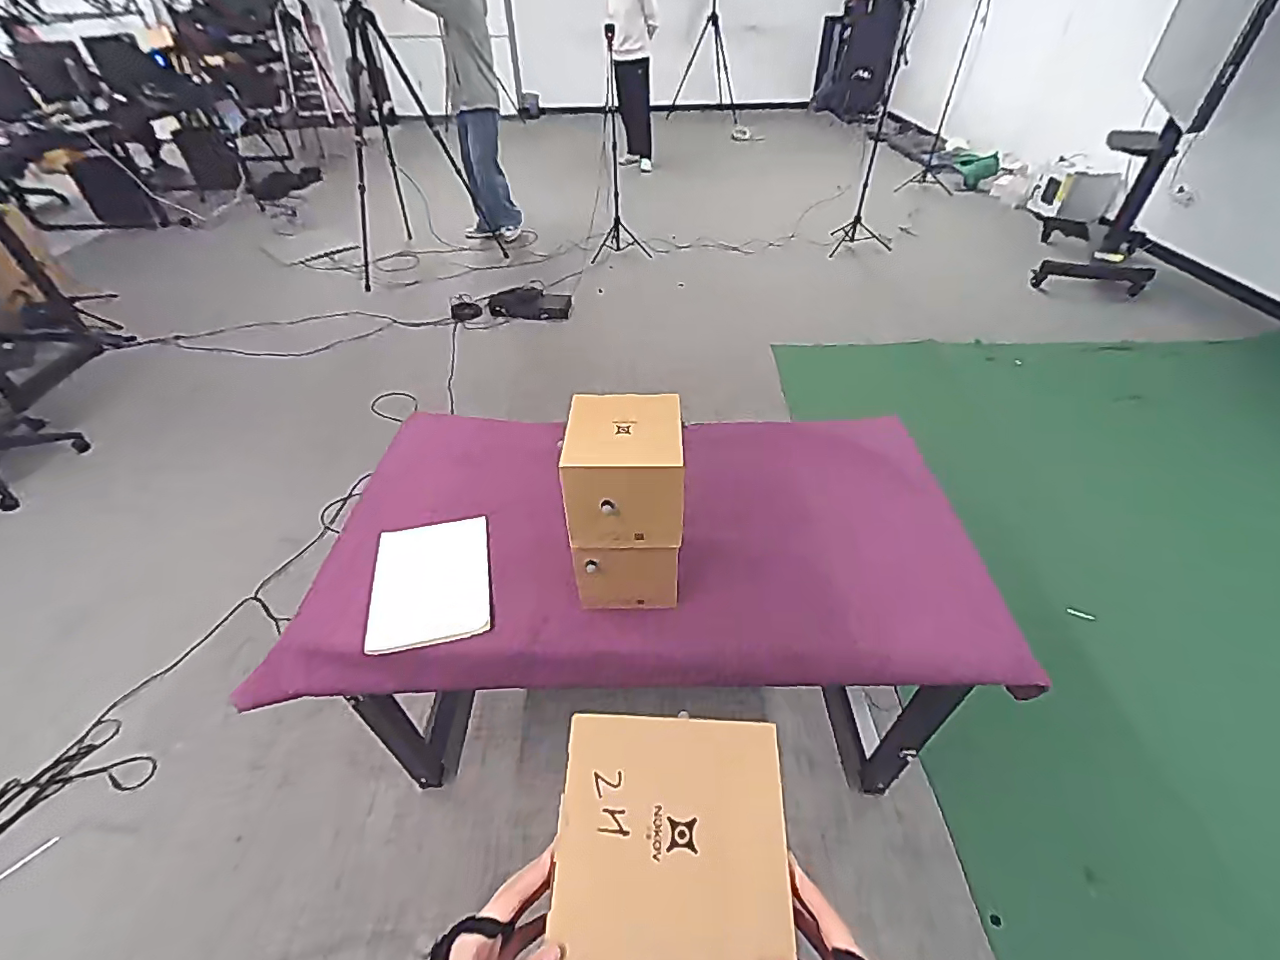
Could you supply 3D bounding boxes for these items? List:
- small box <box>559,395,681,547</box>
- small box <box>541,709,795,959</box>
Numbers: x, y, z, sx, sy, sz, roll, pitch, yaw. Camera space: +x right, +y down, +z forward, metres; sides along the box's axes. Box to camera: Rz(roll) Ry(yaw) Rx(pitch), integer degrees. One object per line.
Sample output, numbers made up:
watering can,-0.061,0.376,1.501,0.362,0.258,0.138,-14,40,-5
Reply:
small box,-0.022,-0.012,0.822,0.168,0.176,0.179,0,41,1
small box,0.025,0.314,0.476,0.179,0.176,0.168,2,52,3
